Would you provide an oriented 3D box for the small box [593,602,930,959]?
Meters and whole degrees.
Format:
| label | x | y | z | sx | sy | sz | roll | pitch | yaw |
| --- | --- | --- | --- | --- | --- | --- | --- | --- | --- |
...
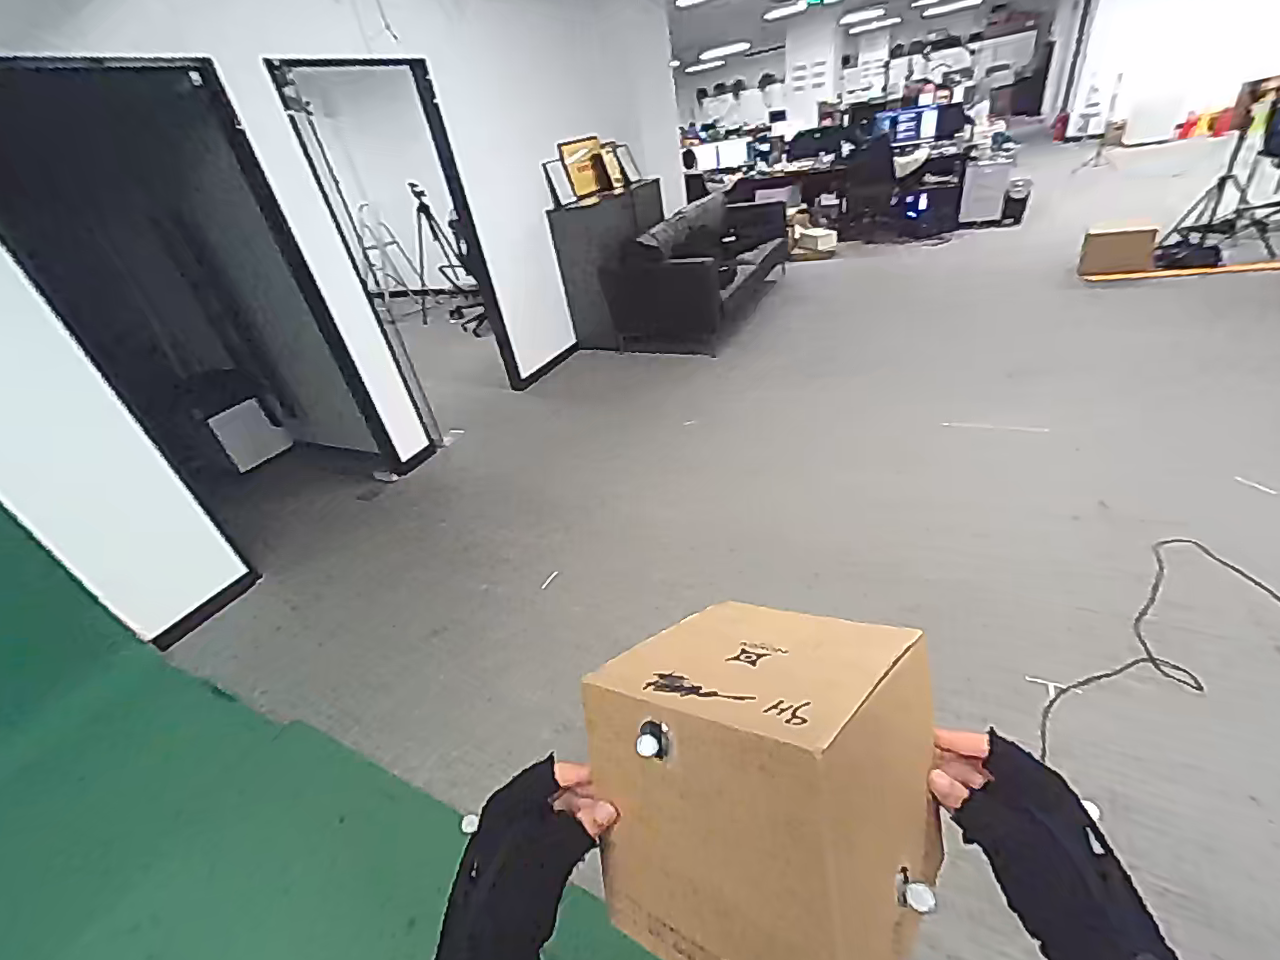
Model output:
| label | x | y | z | sx | sy | sz | roll | pitch | yaw |
| --- | --- | --- | --- | --- | --- | --- | --- | --- | --- |
| small box | 0.089 | 0.197 | 0.374 | 0.168 | 0.176 | 0.179 | -4 | 4 | 42 |
